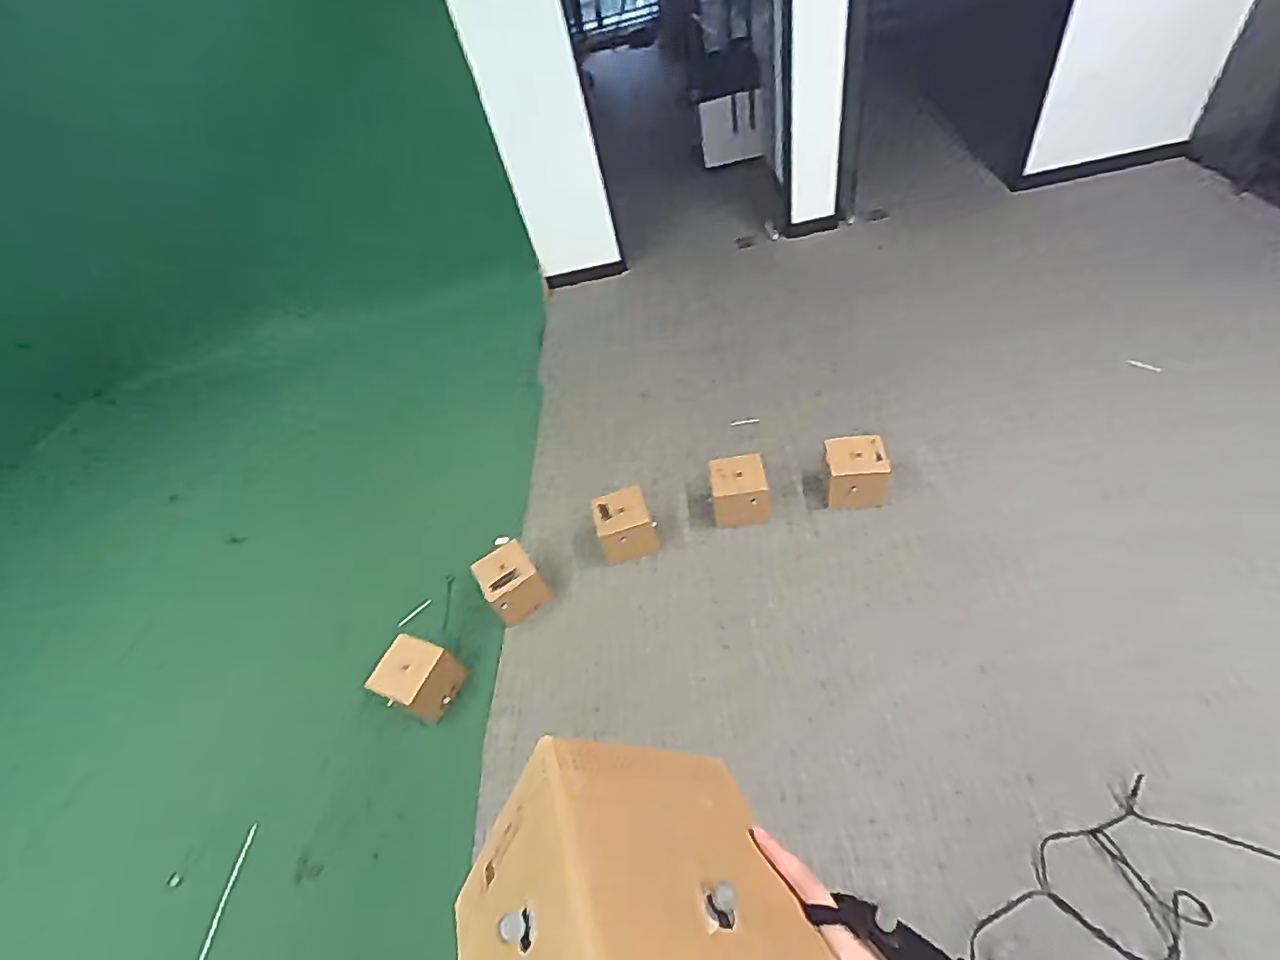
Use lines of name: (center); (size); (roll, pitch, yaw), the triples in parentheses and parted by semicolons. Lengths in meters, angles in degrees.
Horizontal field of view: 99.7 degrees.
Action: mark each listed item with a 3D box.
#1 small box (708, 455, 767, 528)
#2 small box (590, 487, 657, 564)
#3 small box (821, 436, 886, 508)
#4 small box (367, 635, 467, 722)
small box: (0.327, 0.042, 1.817); (0.179, 0.176, 0.168); (-8, 46, 8)
small box: (-0.054, 0.158, 1.815); (0.179, 0.176, 0.168); (-17, 47, -1)
small box: (0.694, -0.022, 1.776); (0.179, 0.176, 0.168); (-5, 48, 12)
small box: (-0.648, 0.587, 1.589); (0.179, 0.176, 0.168); (10, 52, 23)
